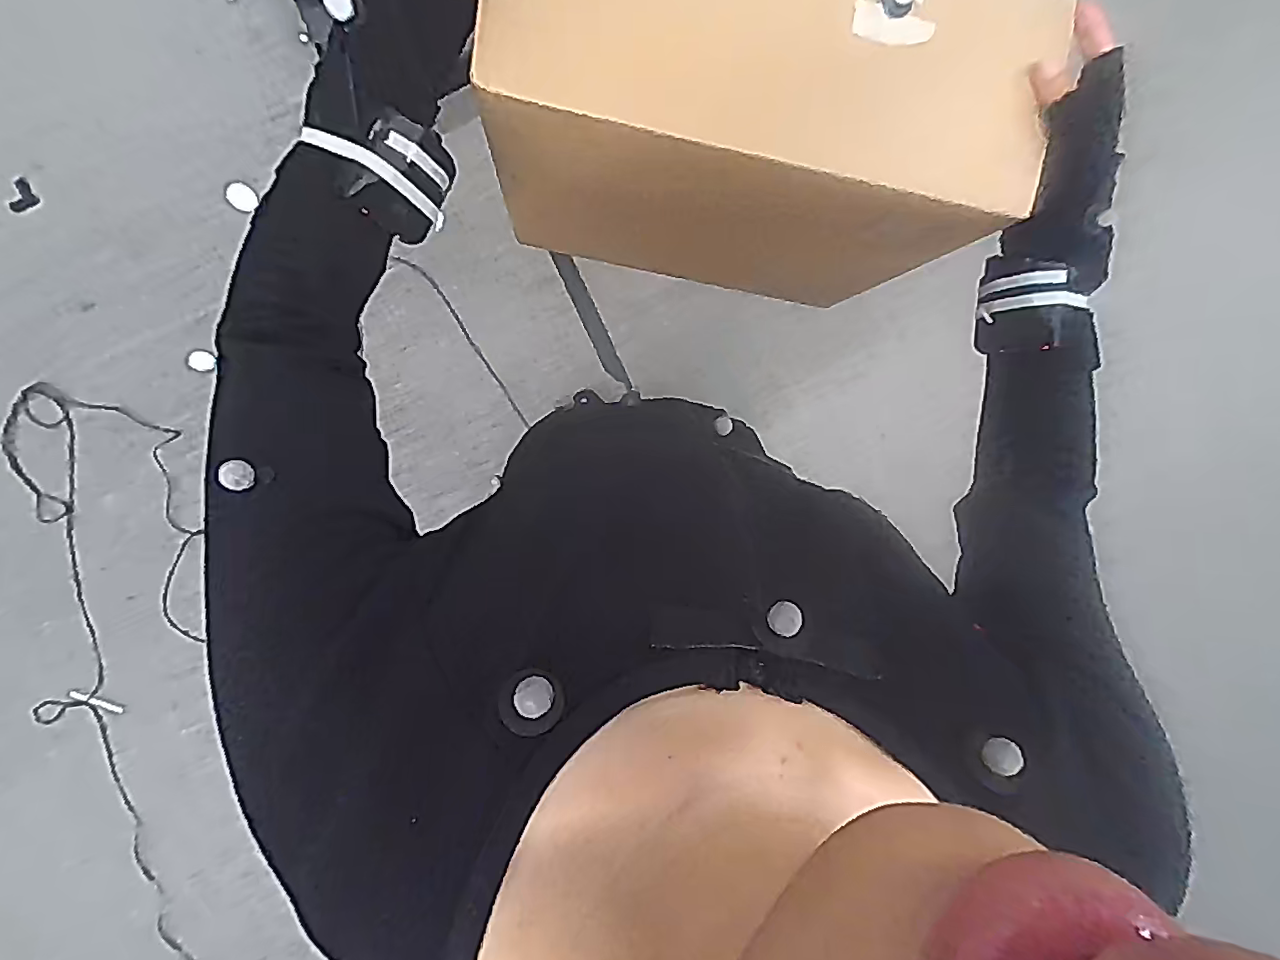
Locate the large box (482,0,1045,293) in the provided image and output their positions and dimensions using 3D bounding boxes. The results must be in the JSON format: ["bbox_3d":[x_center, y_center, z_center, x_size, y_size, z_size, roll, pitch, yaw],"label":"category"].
[{"bbox_3d":[0.085,-0.400,0.520,0.408,0.320,0.320,8,95,-9],"label":"large box"}]
